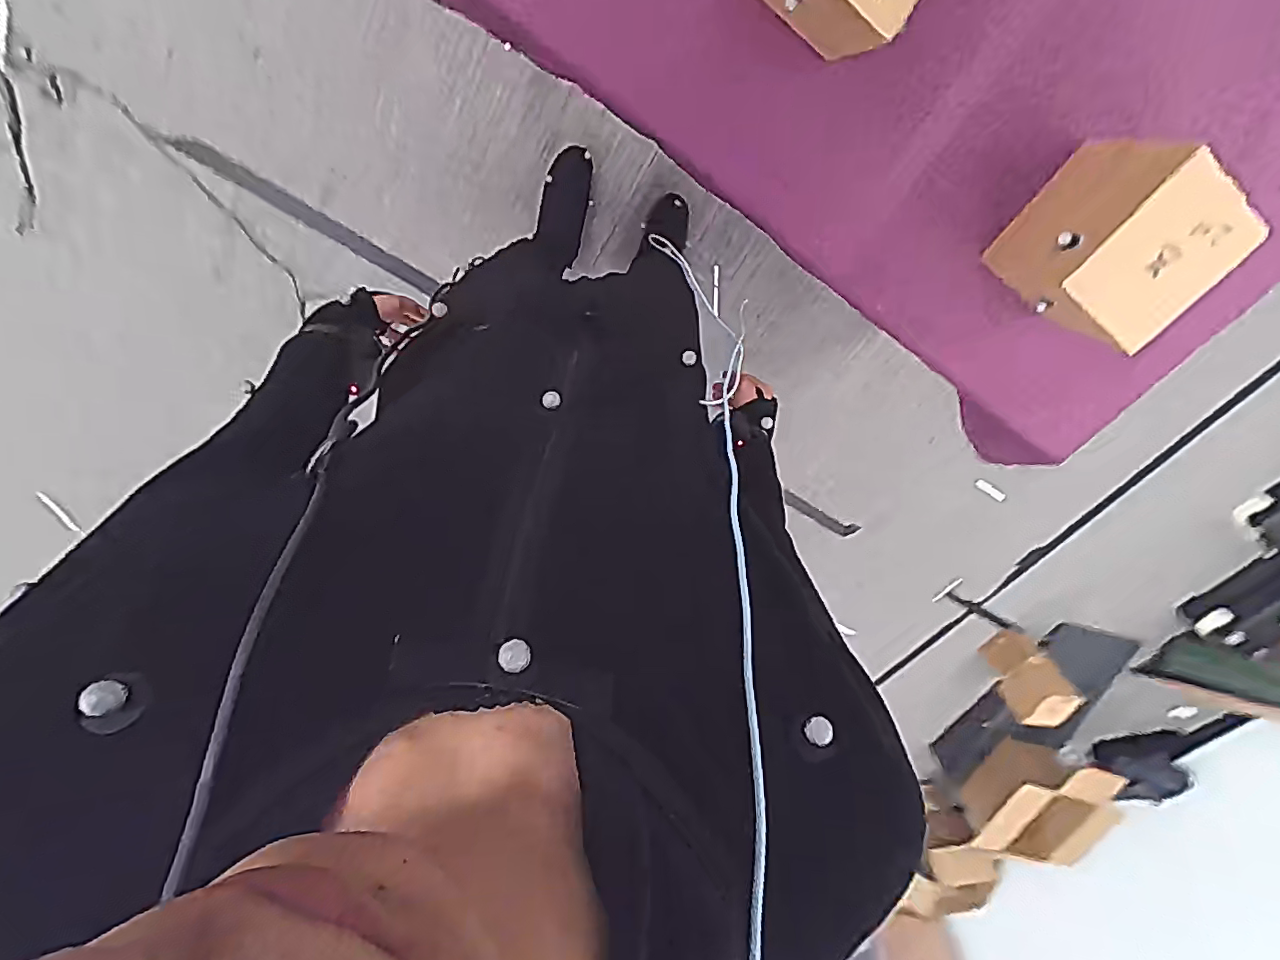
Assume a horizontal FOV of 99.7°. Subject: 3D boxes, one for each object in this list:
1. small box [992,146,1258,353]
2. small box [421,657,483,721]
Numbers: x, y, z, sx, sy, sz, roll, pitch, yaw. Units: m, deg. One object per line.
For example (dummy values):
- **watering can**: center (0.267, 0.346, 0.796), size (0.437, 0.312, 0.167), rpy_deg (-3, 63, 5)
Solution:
- **small box**: center (0.610, -0.305, 0.711), size (0.168, 0.176, 0.179), rpy_deg (28, 117, -21)
- **small box**: center (-0.783, 0.870, 2.266), size (0.179, 0.176, 0.168), rpy_deg (34, 114, -25)
